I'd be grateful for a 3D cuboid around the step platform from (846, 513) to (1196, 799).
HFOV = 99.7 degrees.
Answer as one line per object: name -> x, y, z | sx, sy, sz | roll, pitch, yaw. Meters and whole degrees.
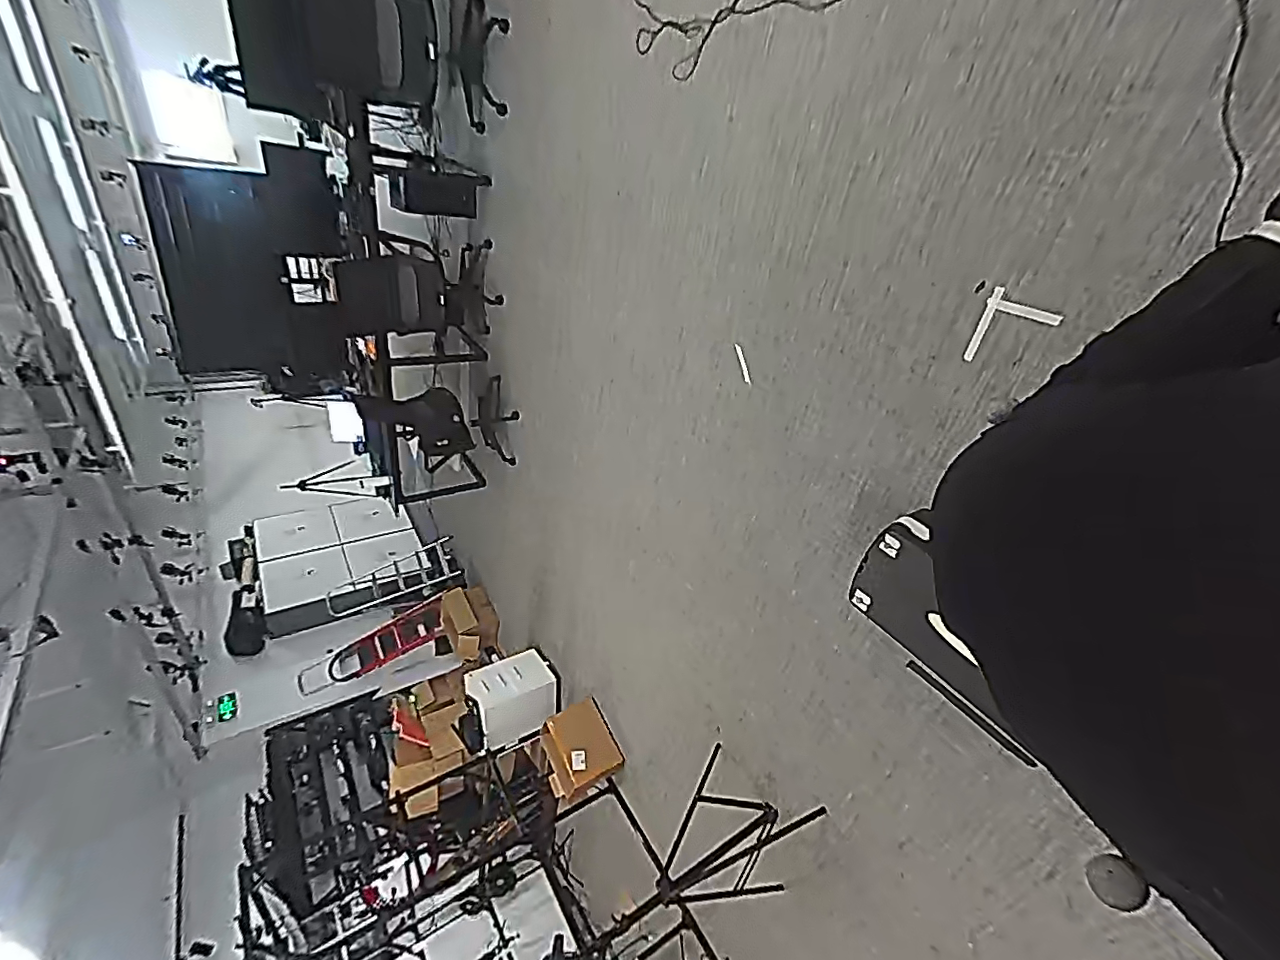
step platform -> 0.843, 0.384, 1.306 | 0.684, 0.204, 0.286 | 43, 135, 40
